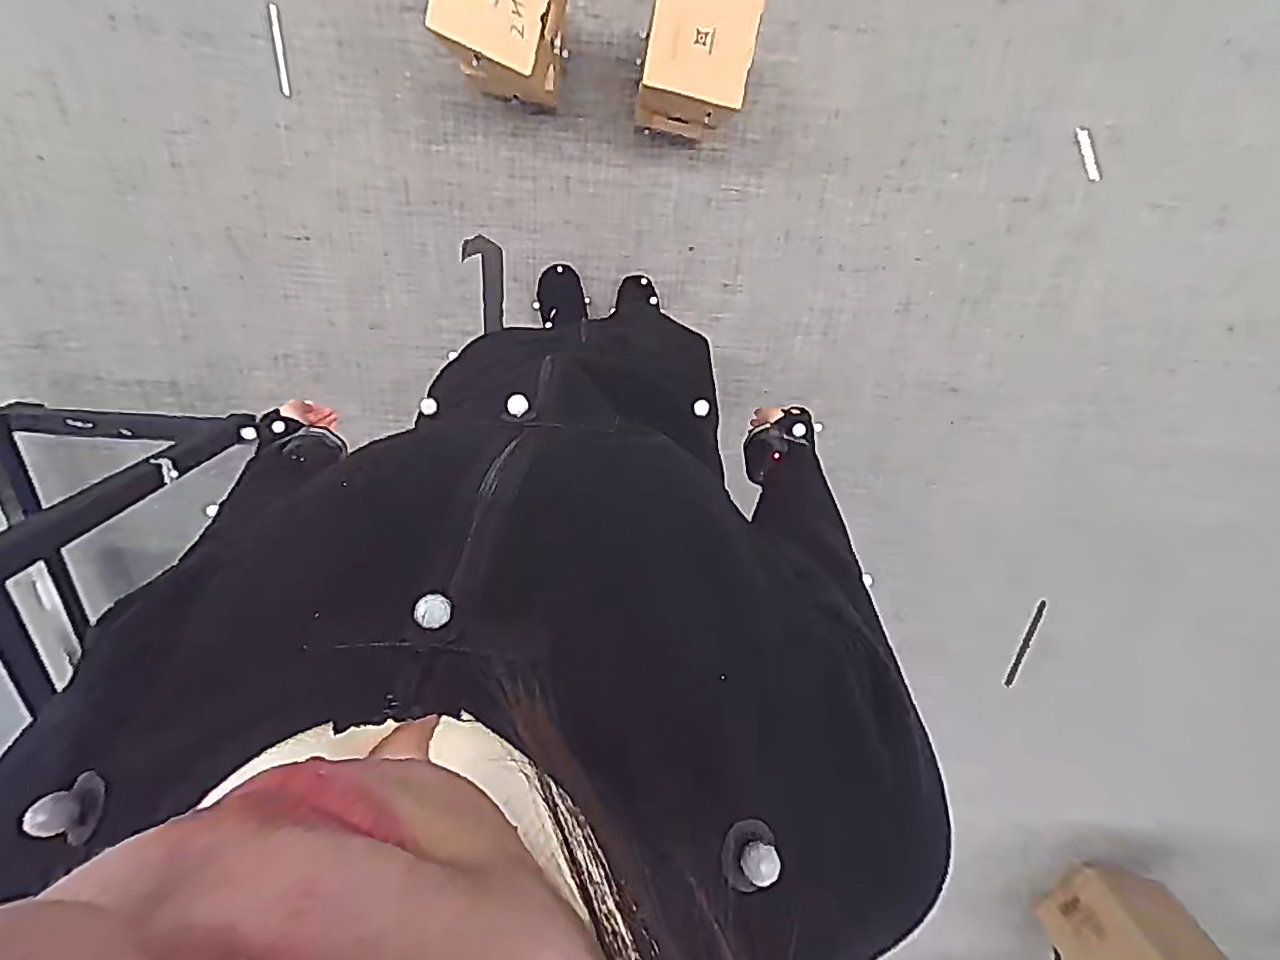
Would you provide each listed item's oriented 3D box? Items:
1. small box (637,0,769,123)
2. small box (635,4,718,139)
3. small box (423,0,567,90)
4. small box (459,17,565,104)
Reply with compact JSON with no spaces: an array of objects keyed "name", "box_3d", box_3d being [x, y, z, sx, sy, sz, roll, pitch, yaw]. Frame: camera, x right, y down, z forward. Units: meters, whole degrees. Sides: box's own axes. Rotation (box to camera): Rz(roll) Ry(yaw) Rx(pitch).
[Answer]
[{"name":"small box","box_3d":[0.099,-0.748,0.946,0.179,0.176,0.168,10,113,-9]},{"name":"small box","box_3d":[0.084,-0.814,1.095,0.168,0.176,0.179,8,114,-8]},{"name":"small box","box_3d":[-0.232,-0.787,0.899,0.179,0.176,0.168,19,113,-12]},{"name":"small box","box_3d":[-0.242,-0.855,1.050,0.179,0.176,0.168,7,114,-8]}]
